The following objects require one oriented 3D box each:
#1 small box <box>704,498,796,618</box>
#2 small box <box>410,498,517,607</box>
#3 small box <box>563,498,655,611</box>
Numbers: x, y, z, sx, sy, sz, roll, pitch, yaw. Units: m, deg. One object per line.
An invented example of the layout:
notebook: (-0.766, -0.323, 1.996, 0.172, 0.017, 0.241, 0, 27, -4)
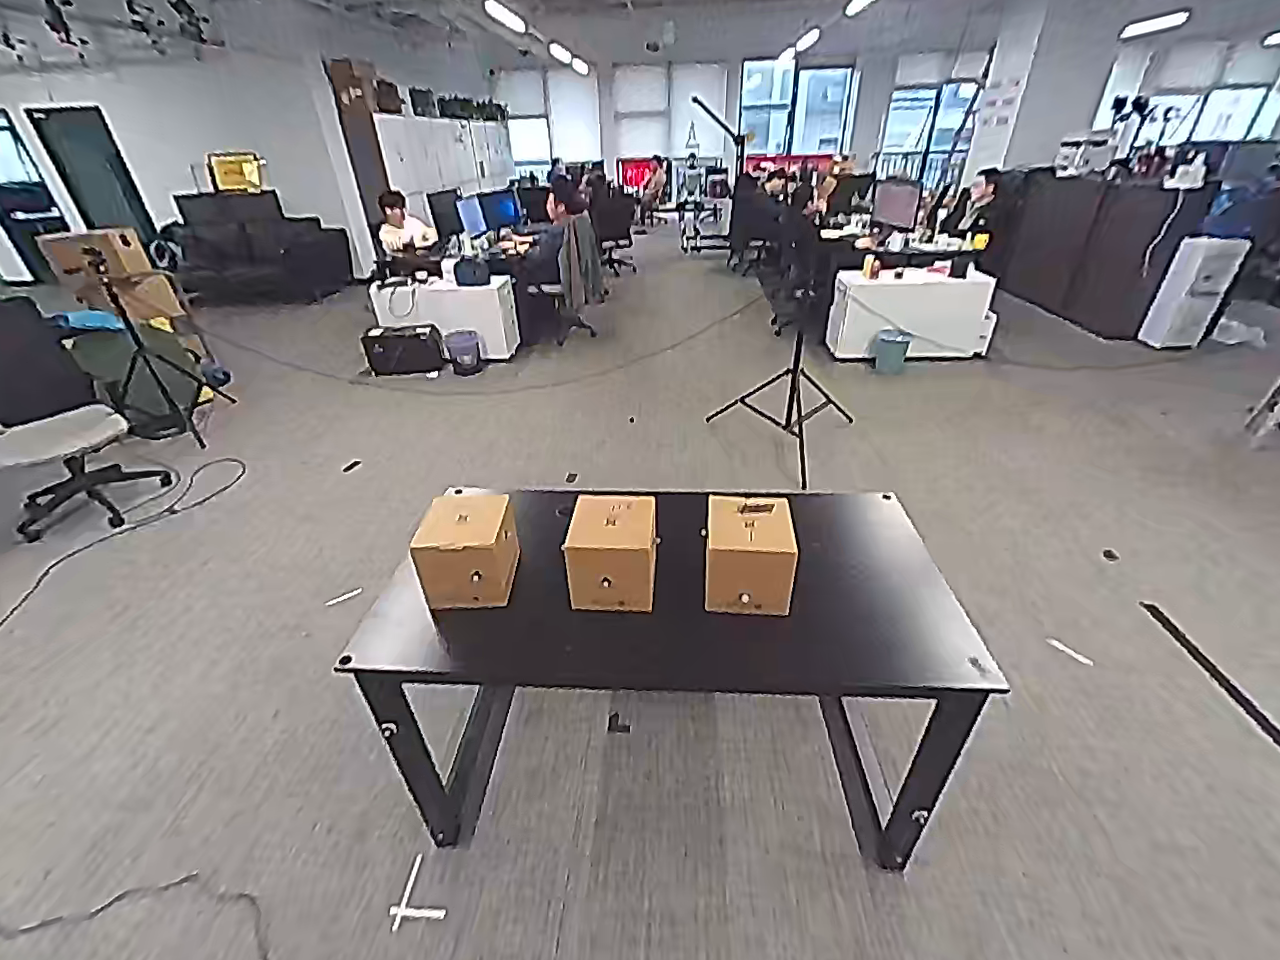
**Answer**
small box: (0.218, 0.157, 1.116, 0.168, 0.176, 0.179, 2, 33, 6)
small box: (-0.363, 0.156, 1.152, 0.168, 0.176, 0.179, -1, 31, -1)
small box: (-0.056, 0.156, 1.133, 0.168, 0.176, 0.179, 1, 32, 4)
